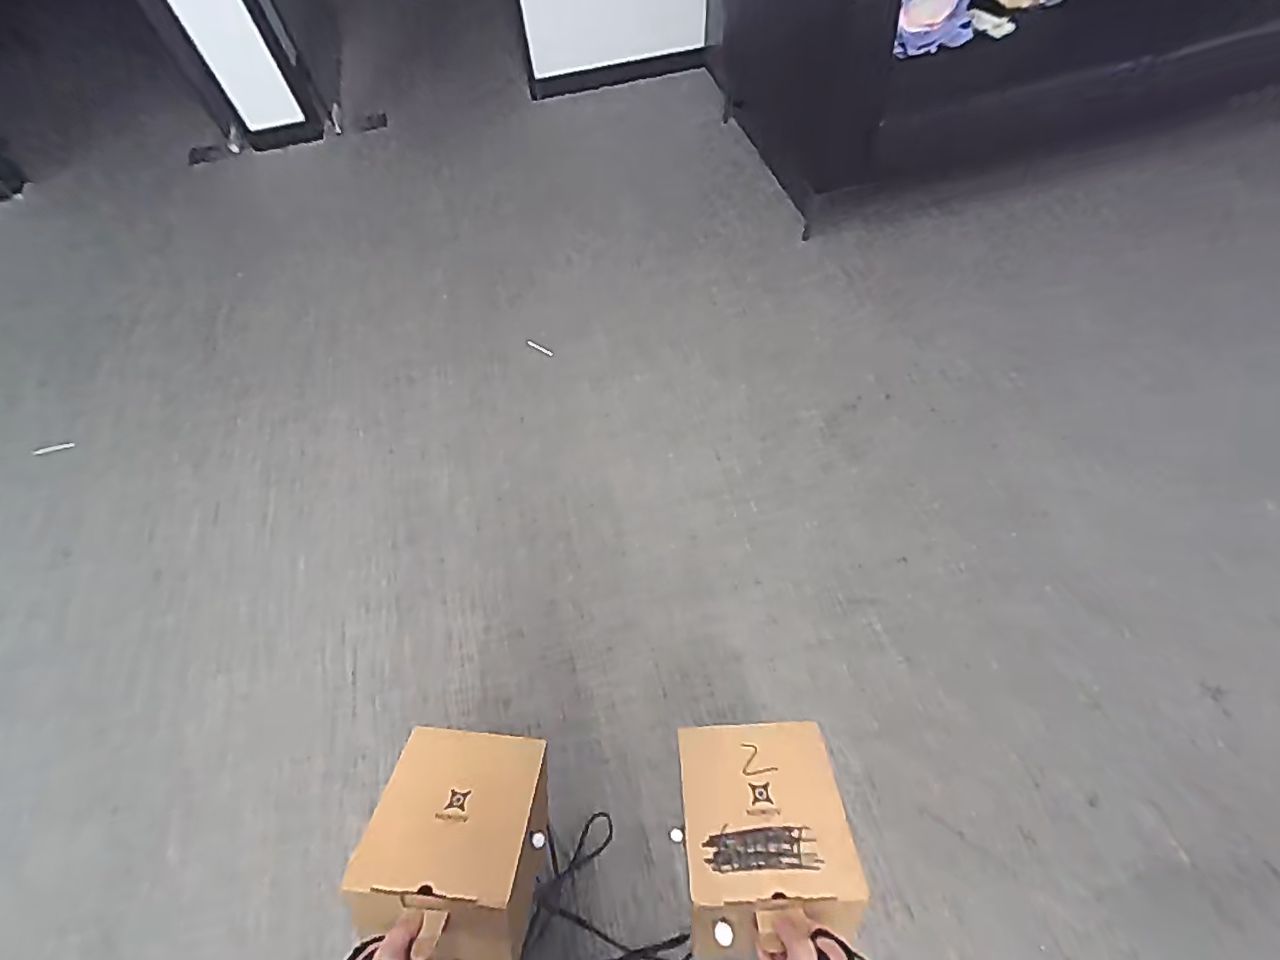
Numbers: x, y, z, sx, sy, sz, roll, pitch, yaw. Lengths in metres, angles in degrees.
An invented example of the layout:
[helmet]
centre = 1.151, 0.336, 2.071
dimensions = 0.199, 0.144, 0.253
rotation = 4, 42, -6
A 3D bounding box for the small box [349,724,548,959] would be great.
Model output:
[small box]
centre = -0.211, 0.428, 0.643
dimensions = 0.168, 0.176, 0.179
rotation = 7, 31, 1
